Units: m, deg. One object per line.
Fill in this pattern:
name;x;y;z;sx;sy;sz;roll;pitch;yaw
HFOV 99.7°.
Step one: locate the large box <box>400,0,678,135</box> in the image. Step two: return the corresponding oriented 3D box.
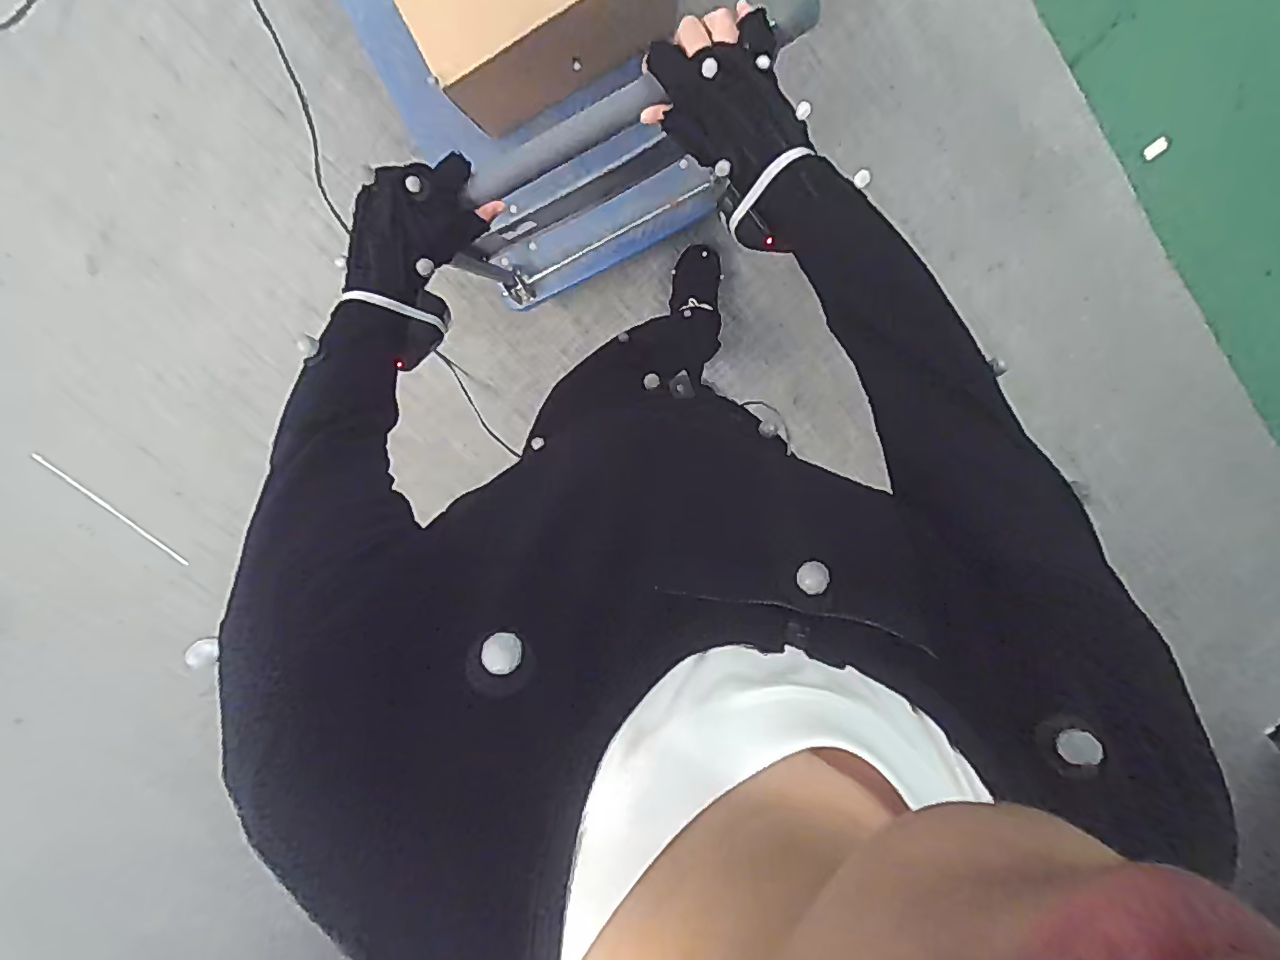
large box;-0.179;-0.852;0.879;0.408;0.320;0.320;-25;107;11
